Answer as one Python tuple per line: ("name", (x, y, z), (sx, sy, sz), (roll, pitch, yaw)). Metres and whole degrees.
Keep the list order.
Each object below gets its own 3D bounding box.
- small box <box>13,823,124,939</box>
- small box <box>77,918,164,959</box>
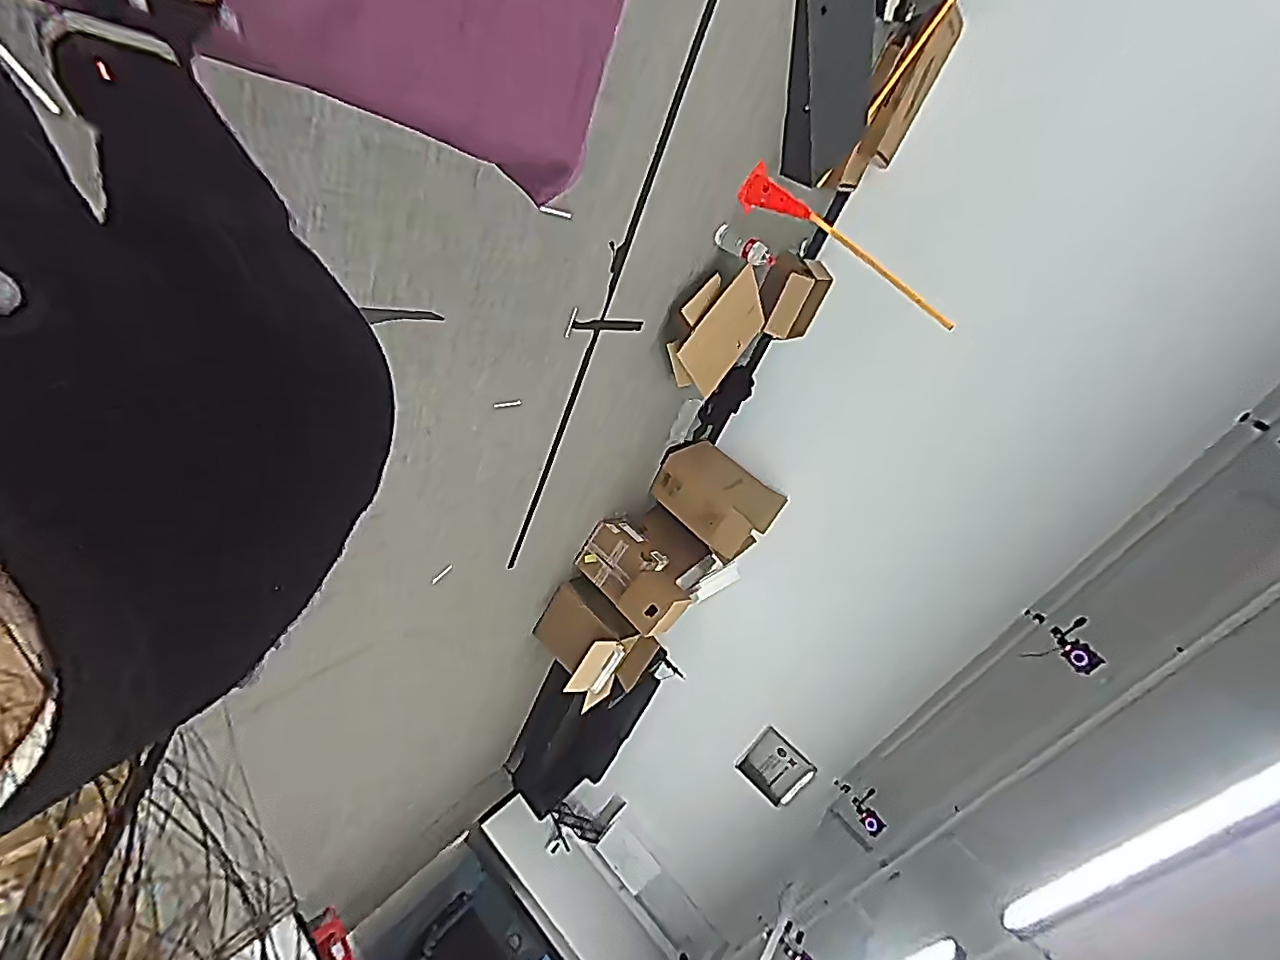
("small box", (-1.628, 1.136, 1.546), (0.179, 0.176, 0.168), (-20, 142, -51))
("small box", (-1.389, 1.327, 1.426), (0.179, 0.176, 0.168), (-18, 140, -54))
